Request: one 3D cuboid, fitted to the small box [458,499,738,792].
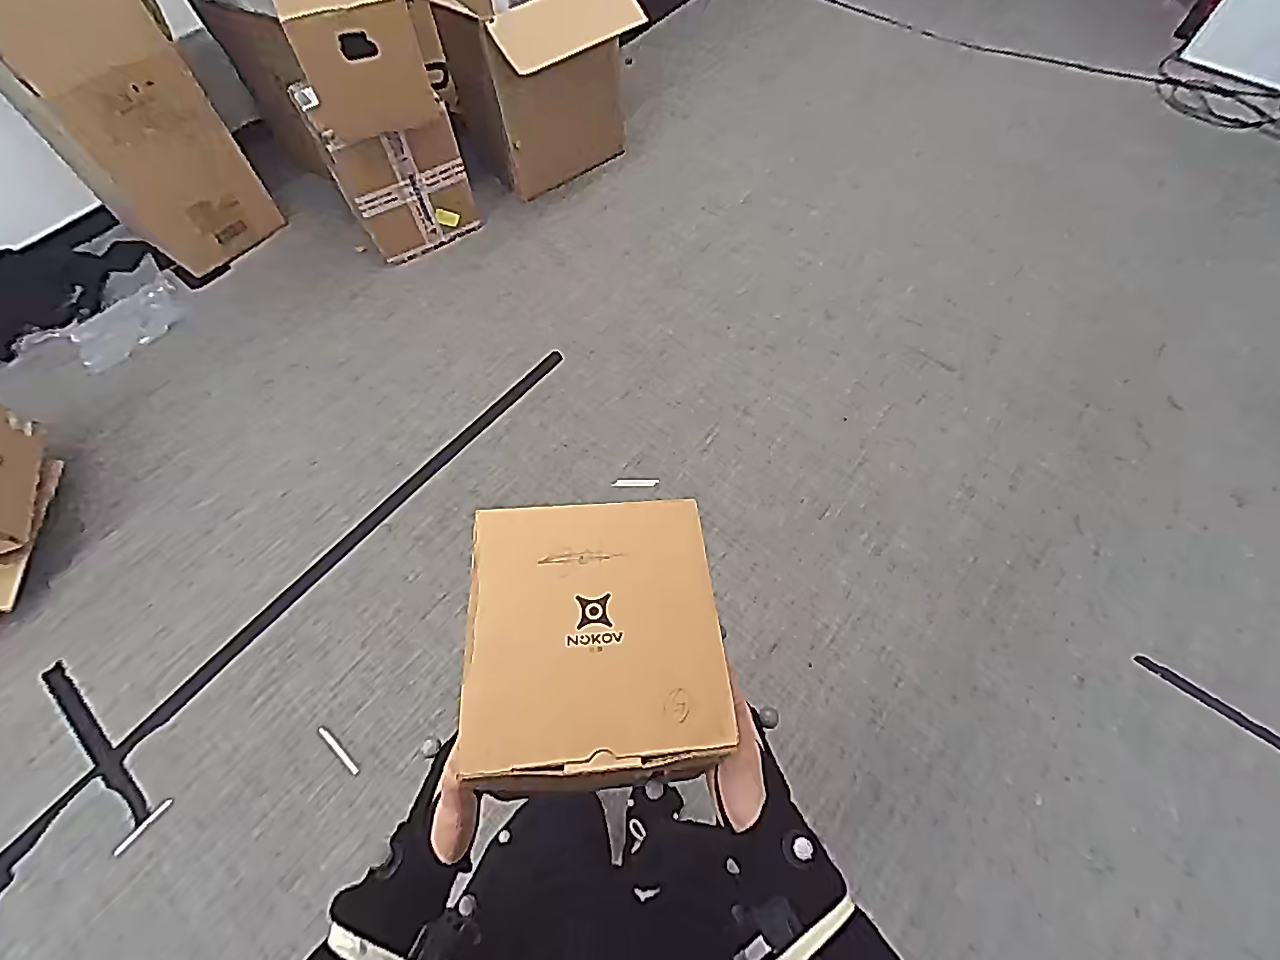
[{"bbox_3d":[-0.035,0.135,0.421,0.168,0.176,0.179,-3,55,-8],"label":"small box"}]
